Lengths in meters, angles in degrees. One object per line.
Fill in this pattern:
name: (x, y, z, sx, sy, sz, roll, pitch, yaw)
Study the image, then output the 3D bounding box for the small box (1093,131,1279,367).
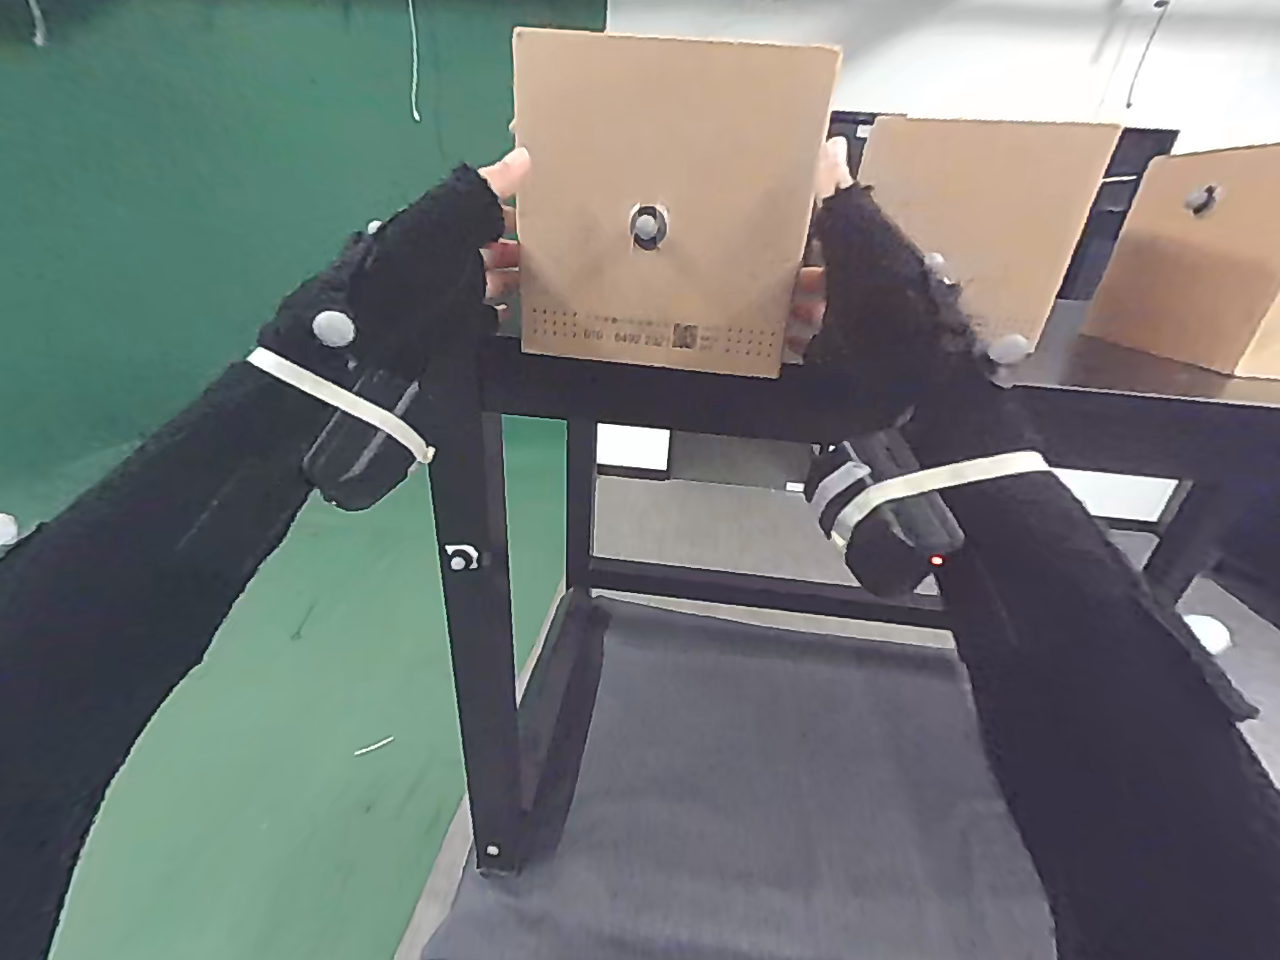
small box: (0.552, -0.189, 0.458, 0.168, 0.176, 0.179, 4, 26, 0)

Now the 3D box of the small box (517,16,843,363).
small box: (0.024, -0.187, 0.375, 0.168, 0.176, 0.179, 8, 27, 4)
